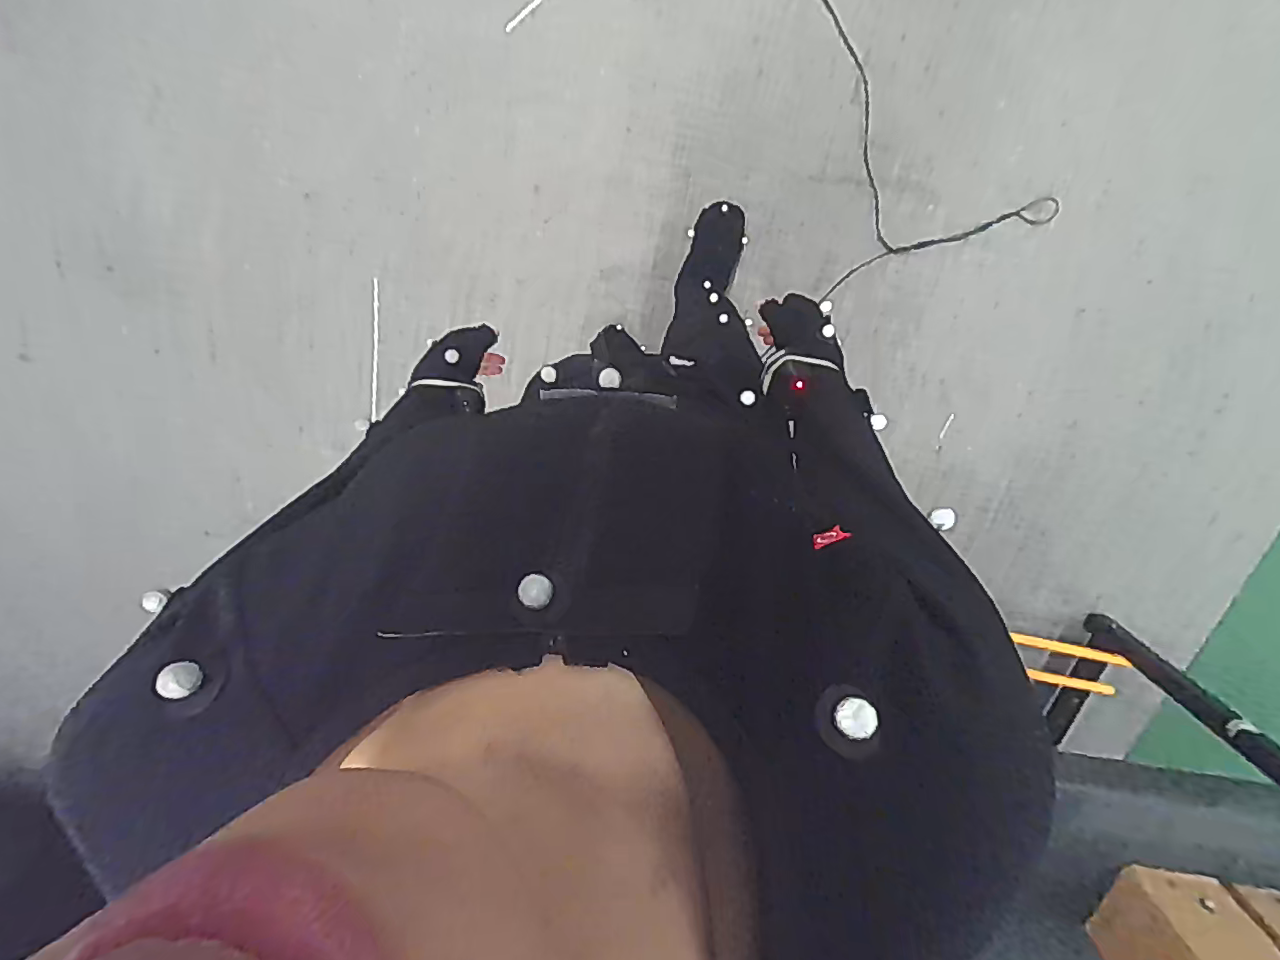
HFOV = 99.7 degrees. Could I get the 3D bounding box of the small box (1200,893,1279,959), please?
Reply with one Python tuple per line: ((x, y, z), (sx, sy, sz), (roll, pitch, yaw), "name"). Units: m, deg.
((1.109, 0.838, 0.896), (0.168, 0.176, 0.179), (9, 110, -1), "small box")
